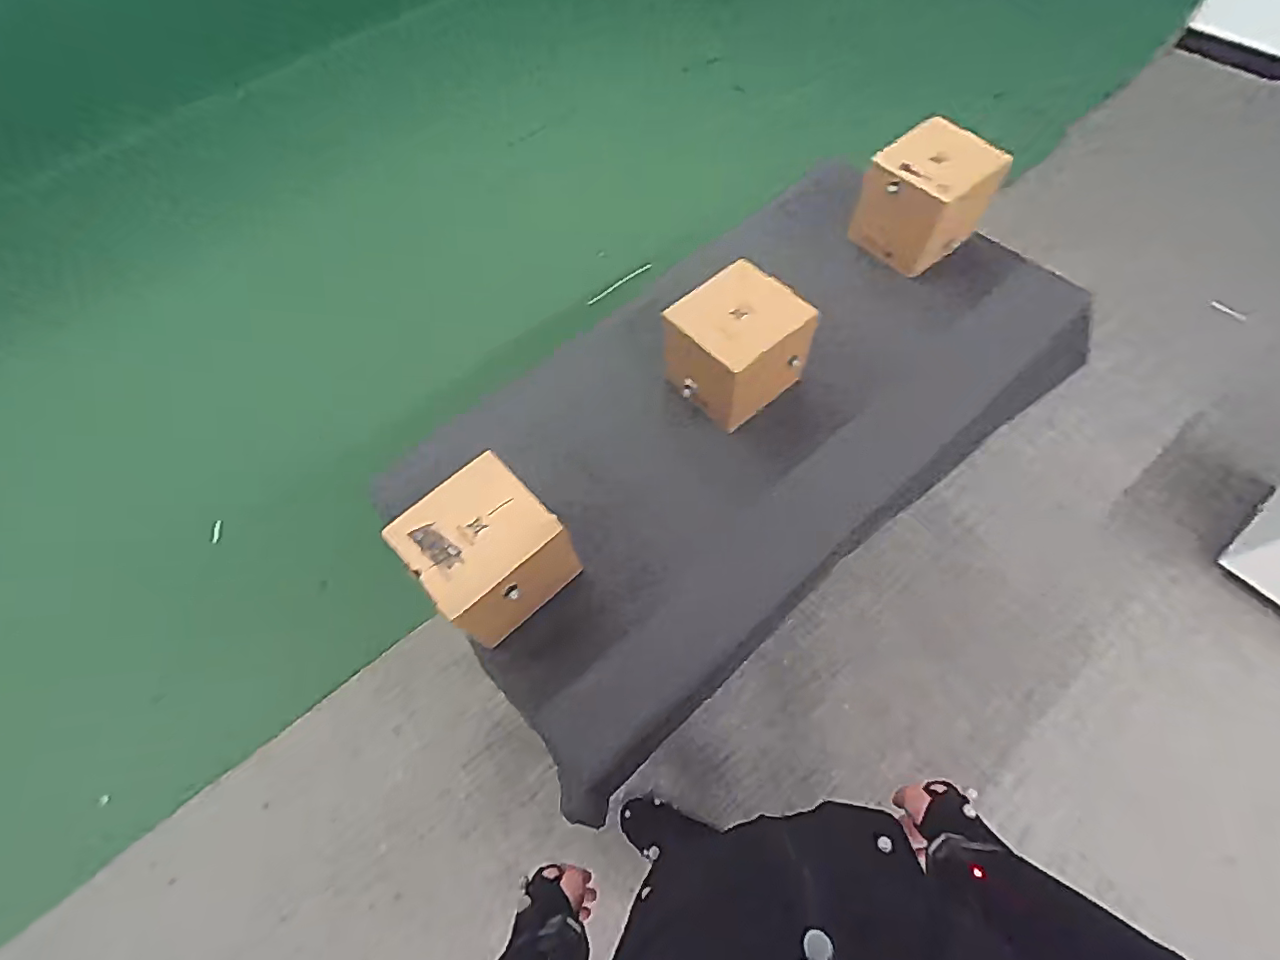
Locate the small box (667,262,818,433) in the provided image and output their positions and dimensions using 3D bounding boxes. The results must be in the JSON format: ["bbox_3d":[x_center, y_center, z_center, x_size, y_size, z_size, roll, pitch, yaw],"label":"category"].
[{"bbox_3d":[0.157,-0.213,0.892,0.179,0.176,0.168,-38,66,-16],"label":"small box"}]

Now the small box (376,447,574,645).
[{"bbox_3d":[-0.207,0.096,0.730,0.179,0.176,0.168,-40,68,-19],"label":"small box"}]

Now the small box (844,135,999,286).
[{"bbox_3d":[0.527,-0.513,1.040,0.179,0.176,0.168,-35,67,-16],"label":"small box"}]
